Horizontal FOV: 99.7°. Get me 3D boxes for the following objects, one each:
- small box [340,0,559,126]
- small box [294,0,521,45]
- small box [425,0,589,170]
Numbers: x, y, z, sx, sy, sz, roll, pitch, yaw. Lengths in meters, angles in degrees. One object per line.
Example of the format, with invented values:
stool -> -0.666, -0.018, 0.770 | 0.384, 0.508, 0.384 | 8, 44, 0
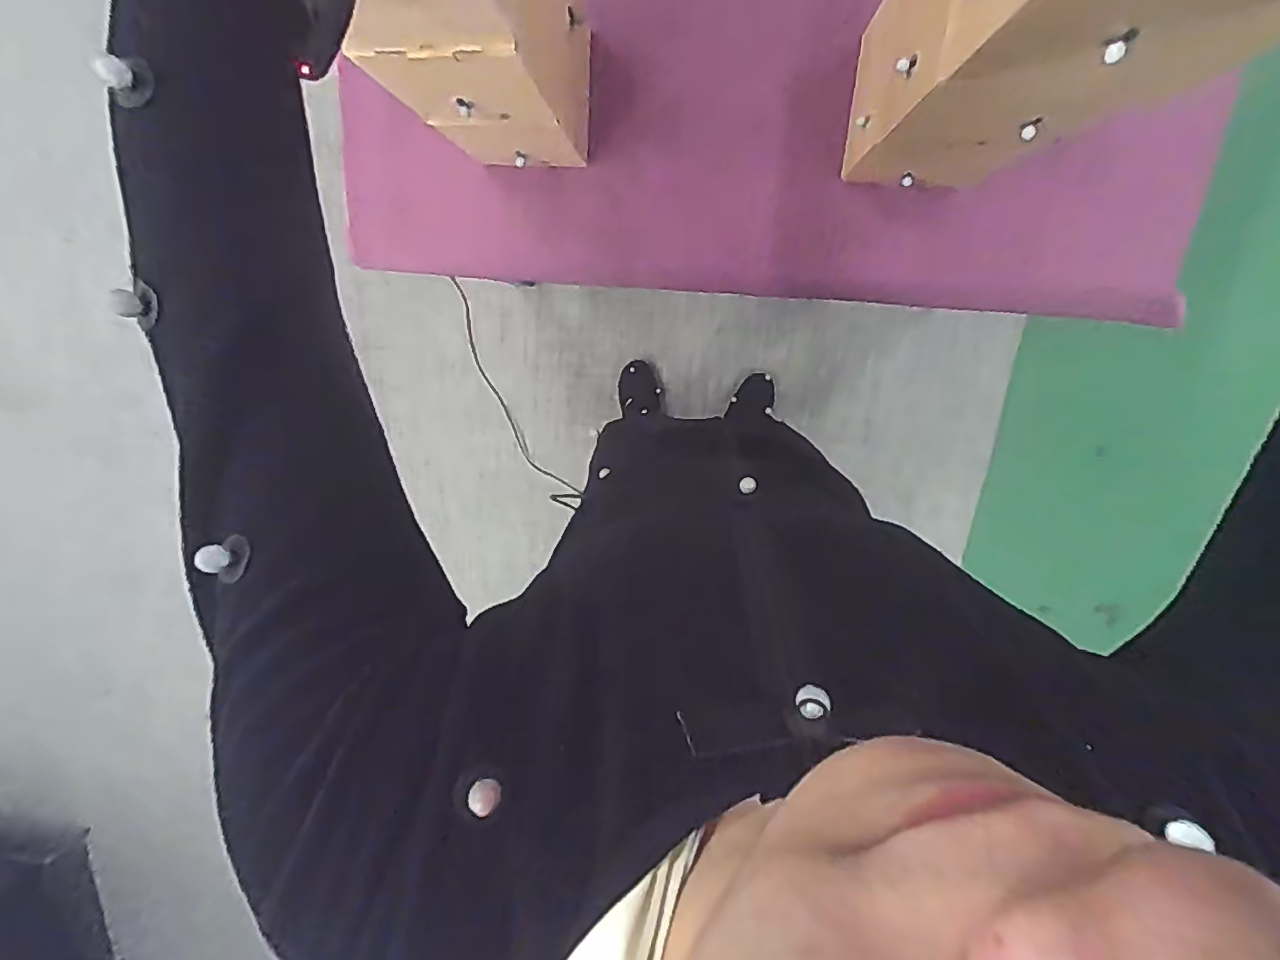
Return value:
small box -> -0.182, -0.489, 0.547 | 0.168, 0.176, 0.179 | 4, 105, 5
small box -> -0.199, -0.450, 0.389 | 0.179, 0.176, 0.168 | 2, 105, 7
small box -> -0.165, -0.529, 0.703 | 0.168, 0.176, 0.179 | 5, 105, 6
